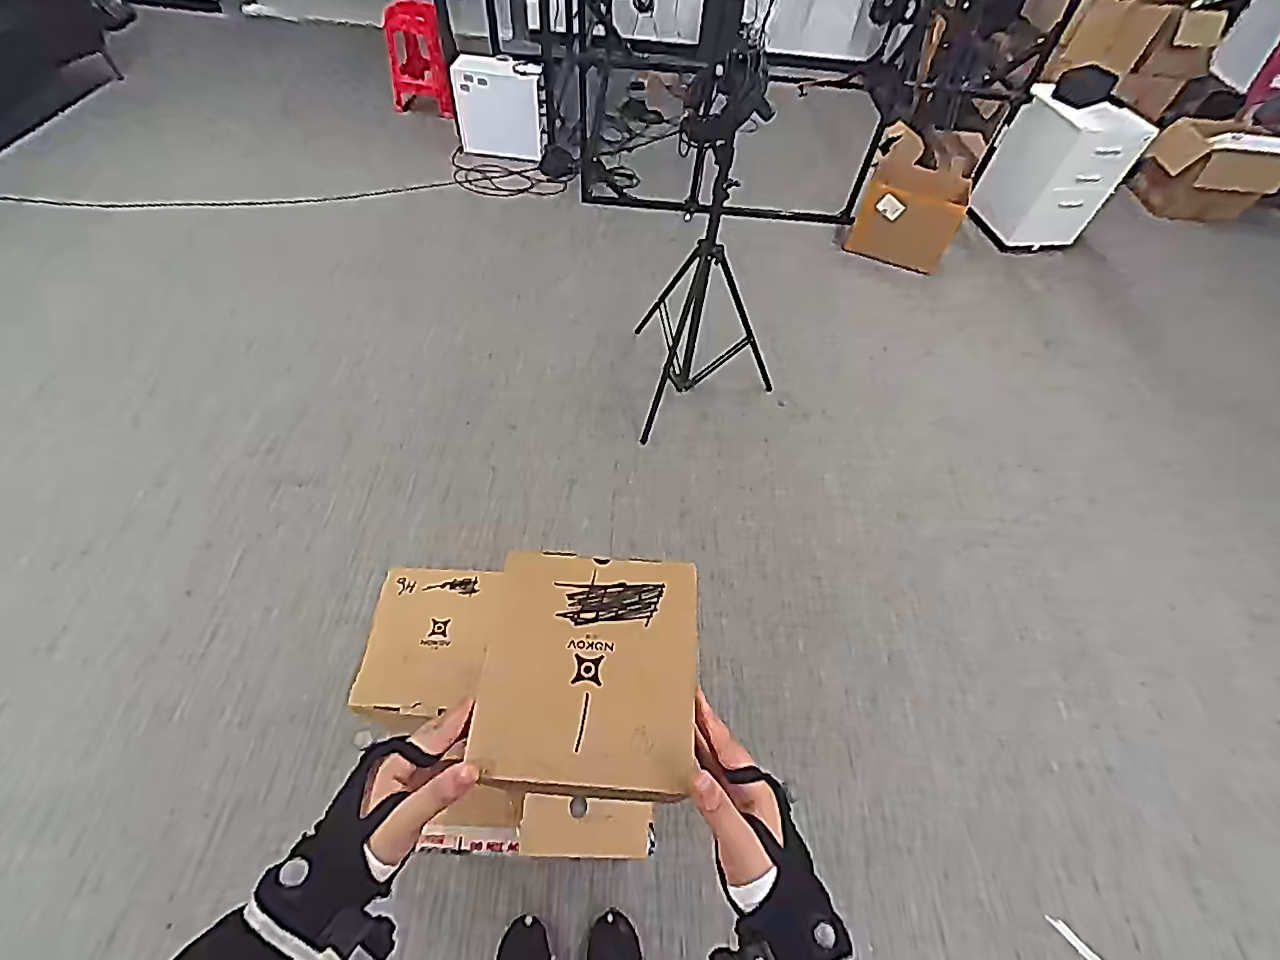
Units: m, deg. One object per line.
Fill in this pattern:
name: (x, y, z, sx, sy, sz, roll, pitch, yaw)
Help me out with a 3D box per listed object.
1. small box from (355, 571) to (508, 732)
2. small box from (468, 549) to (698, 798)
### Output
small box: (-0.247, 0.238, 0.733, 0.168, 0.176, 0.179, 2, 57, -1)
small box: (-0.038, 0.181, 0.493, 0.168, 0.176, 0.179, 3, 58, 2)
